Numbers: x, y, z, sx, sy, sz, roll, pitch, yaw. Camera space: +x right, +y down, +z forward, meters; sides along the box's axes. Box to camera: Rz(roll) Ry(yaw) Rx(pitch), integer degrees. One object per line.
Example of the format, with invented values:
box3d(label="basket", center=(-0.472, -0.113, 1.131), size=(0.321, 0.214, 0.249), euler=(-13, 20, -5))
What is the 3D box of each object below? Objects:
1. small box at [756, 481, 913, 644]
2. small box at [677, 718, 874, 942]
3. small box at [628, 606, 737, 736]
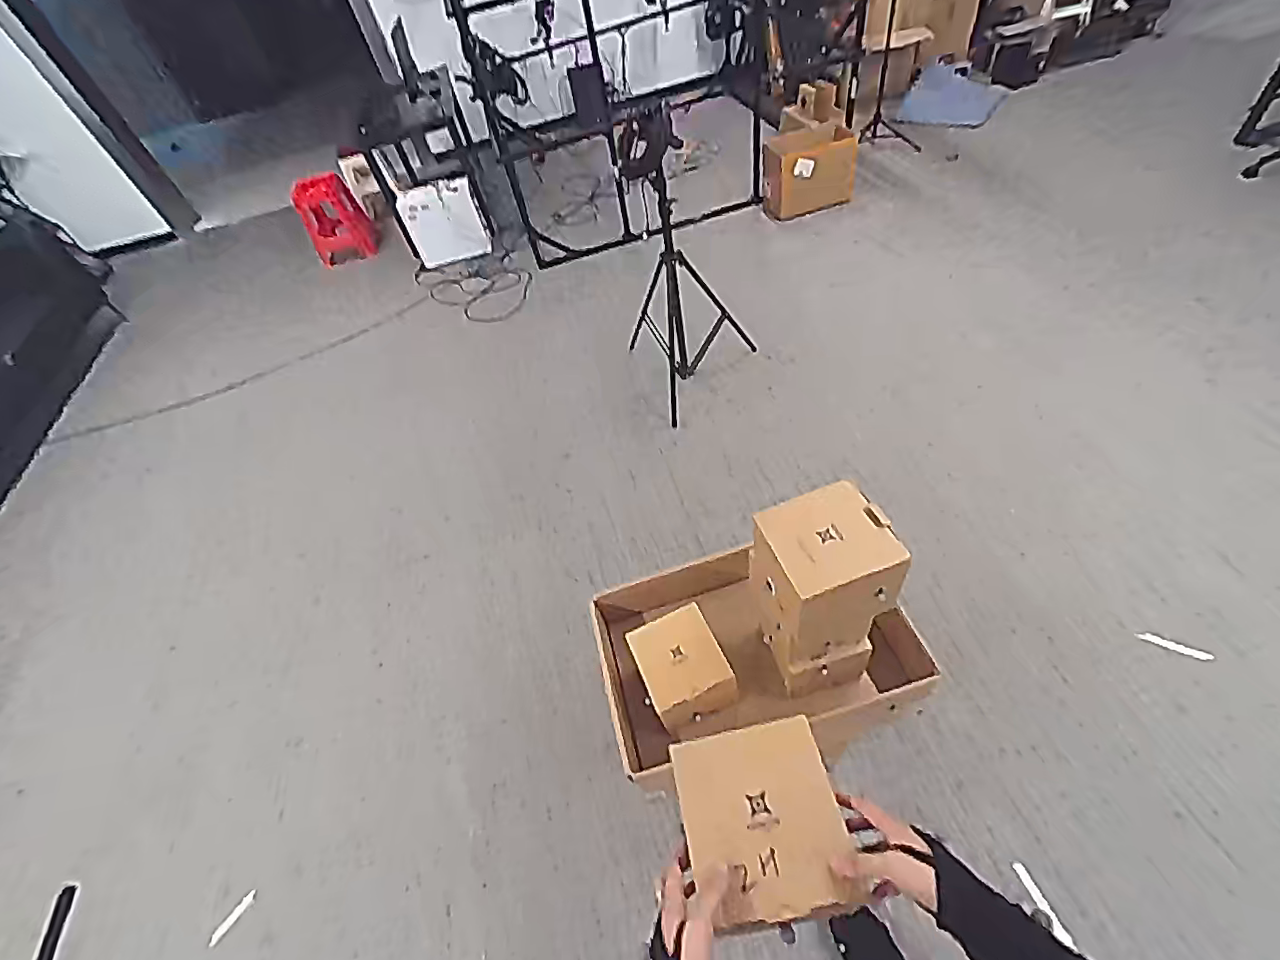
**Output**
box3d(label="small box", center=(0.298, 0.136, 0.874), size=(0.179, 0.176, 0.168), euler=(-20, 49, -4))
box3d(label="small box", center=(0.144, 0.406, 0.626), size=(0.168, 0.176, 0.179), euler=(-13, 47, 2))
box3d(label="small box", center=(0.092, 0.403, 1.135), size=(0.168, 0.176, 0.179), euler=(-24, 50, -7))
